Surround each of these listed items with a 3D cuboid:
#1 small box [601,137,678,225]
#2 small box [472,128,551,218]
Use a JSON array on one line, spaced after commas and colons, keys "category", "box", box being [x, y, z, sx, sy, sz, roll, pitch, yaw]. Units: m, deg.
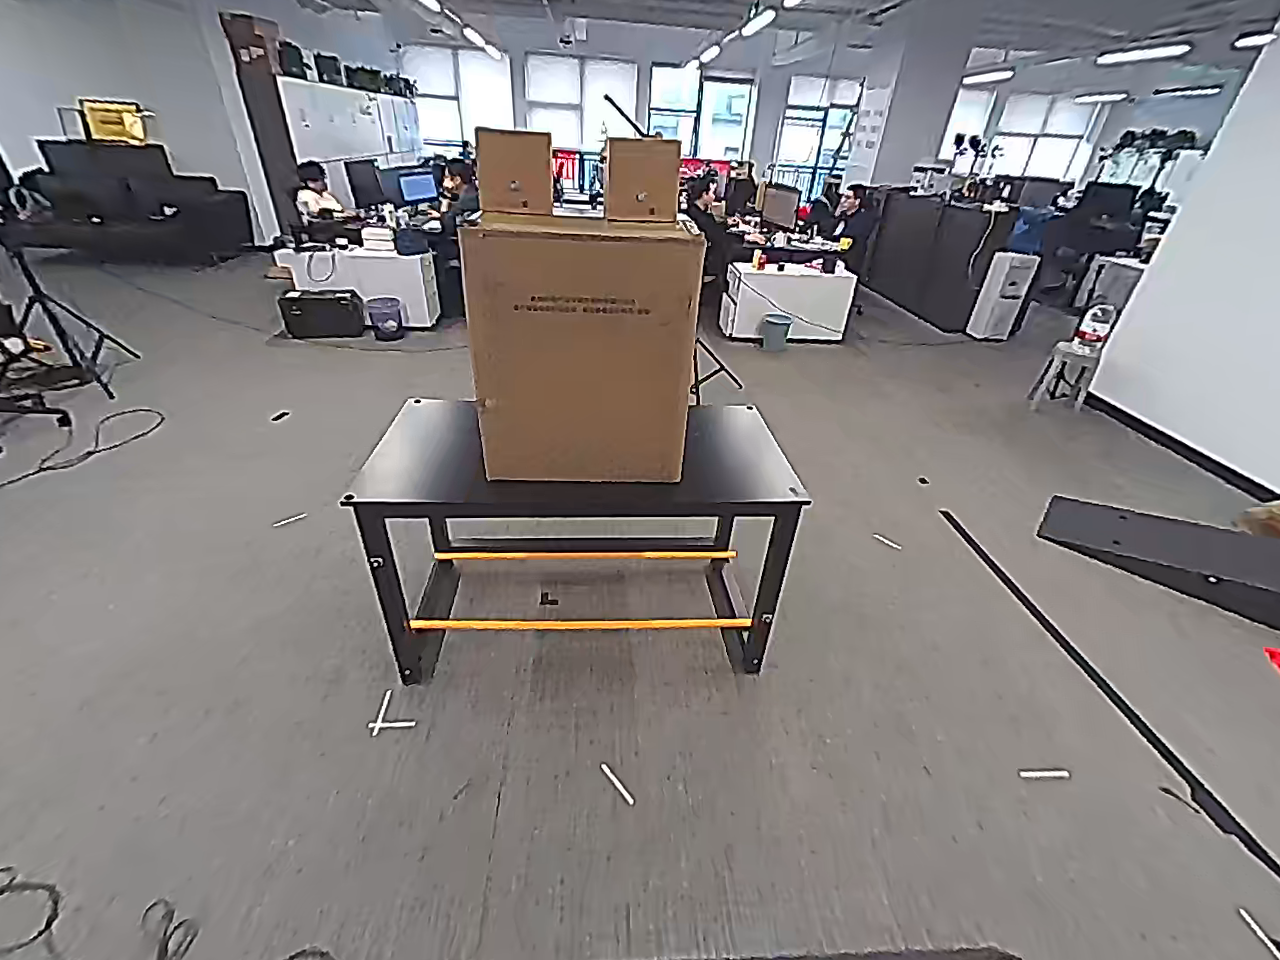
[{"category": "small box", "box": [-0.007, -0.719, 1.302, 0.168, 0.176, 0.179, -2, 32, -7]}, {"category": "small box", "box": [-0.301, -0.736, 1.301, 0.168, 0.176, 0.179, -1, 31, -7]}]
